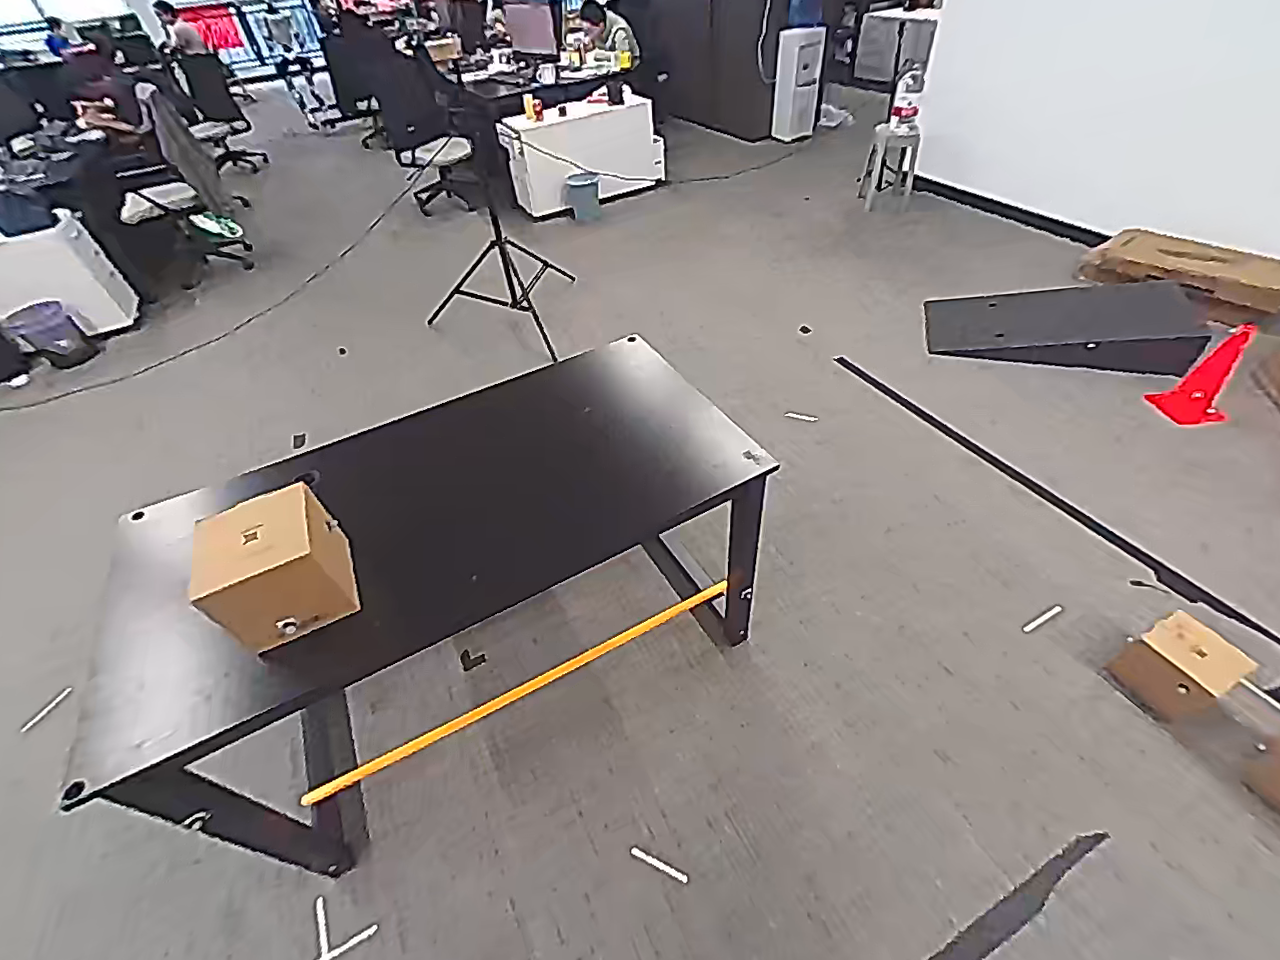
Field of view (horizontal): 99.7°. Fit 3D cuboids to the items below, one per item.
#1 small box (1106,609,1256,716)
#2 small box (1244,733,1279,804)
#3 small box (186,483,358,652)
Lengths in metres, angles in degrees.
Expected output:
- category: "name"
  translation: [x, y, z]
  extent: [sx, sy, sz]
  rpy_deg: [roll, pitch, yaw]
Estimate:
- category: "small box"
  translation: [1.351, 0.467, 1.365]
  extent: [0.168, 0.176, 0.179]
  rpy_deg: [-23, 48, -16]
- category: "small box"
  translation: [1.501, 0.647, 1.180]
  extent: [0.179, 0.176, 0.168]
  rpy_deg: [-26, 49, -17]
- category: "small box"
  translation: [-0.586, 0.142, 0.877]
  extent: [0.168, 0.176, 0.179]
  rpy_deg: [-25, 49, -16]
